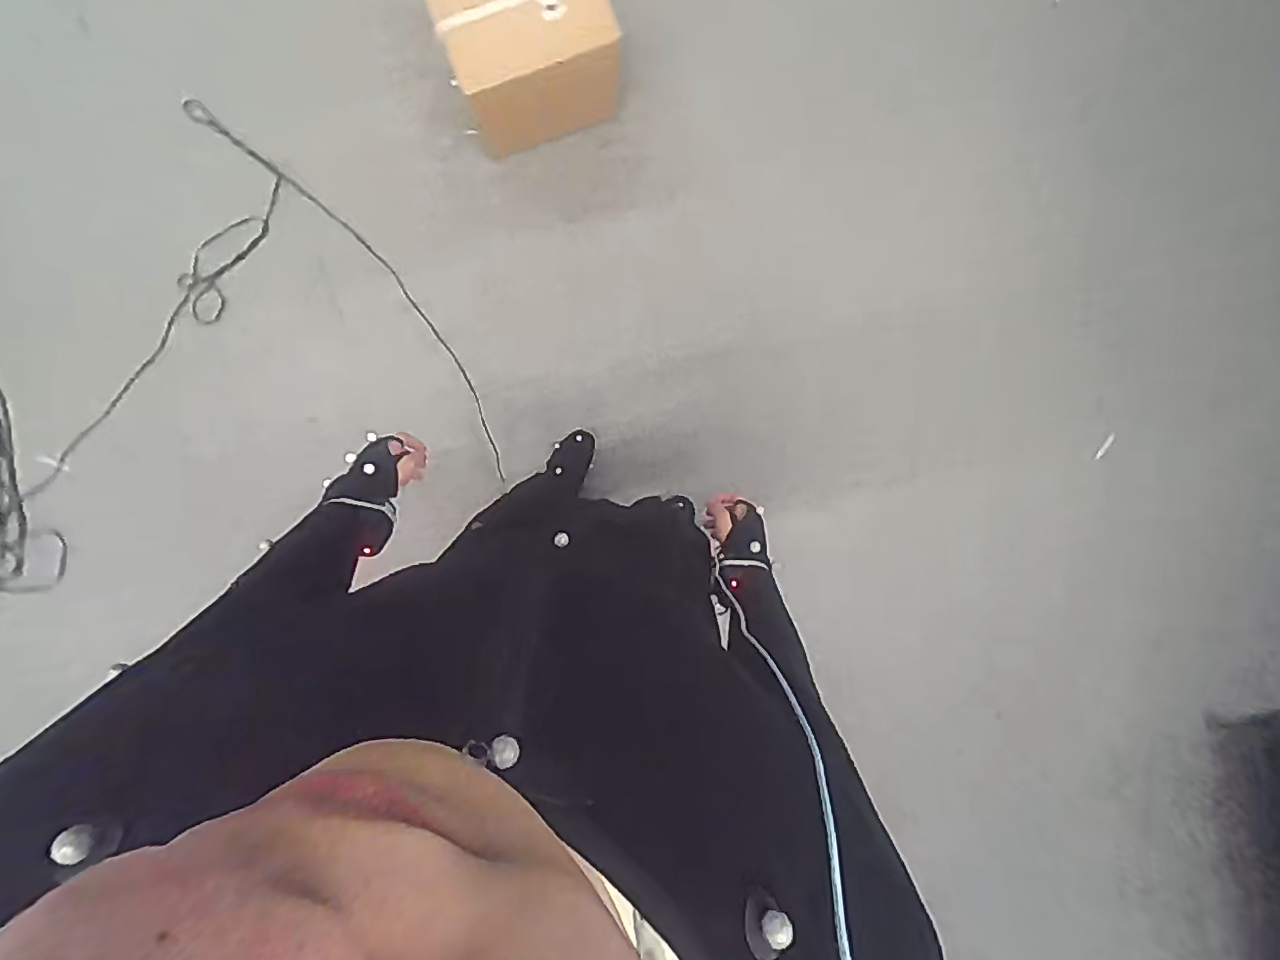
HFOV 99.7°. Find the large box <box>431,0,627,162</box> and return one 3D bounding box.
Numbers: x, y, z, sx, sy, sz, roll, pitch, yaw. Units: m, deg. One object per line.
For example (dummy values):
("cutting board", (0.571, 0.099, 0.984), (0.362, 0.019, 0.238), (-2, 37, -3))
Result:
("large box", (-0.278, -1.119, 1.411), (0.408, 0.320, 0.320), (-21, 95, -3))
